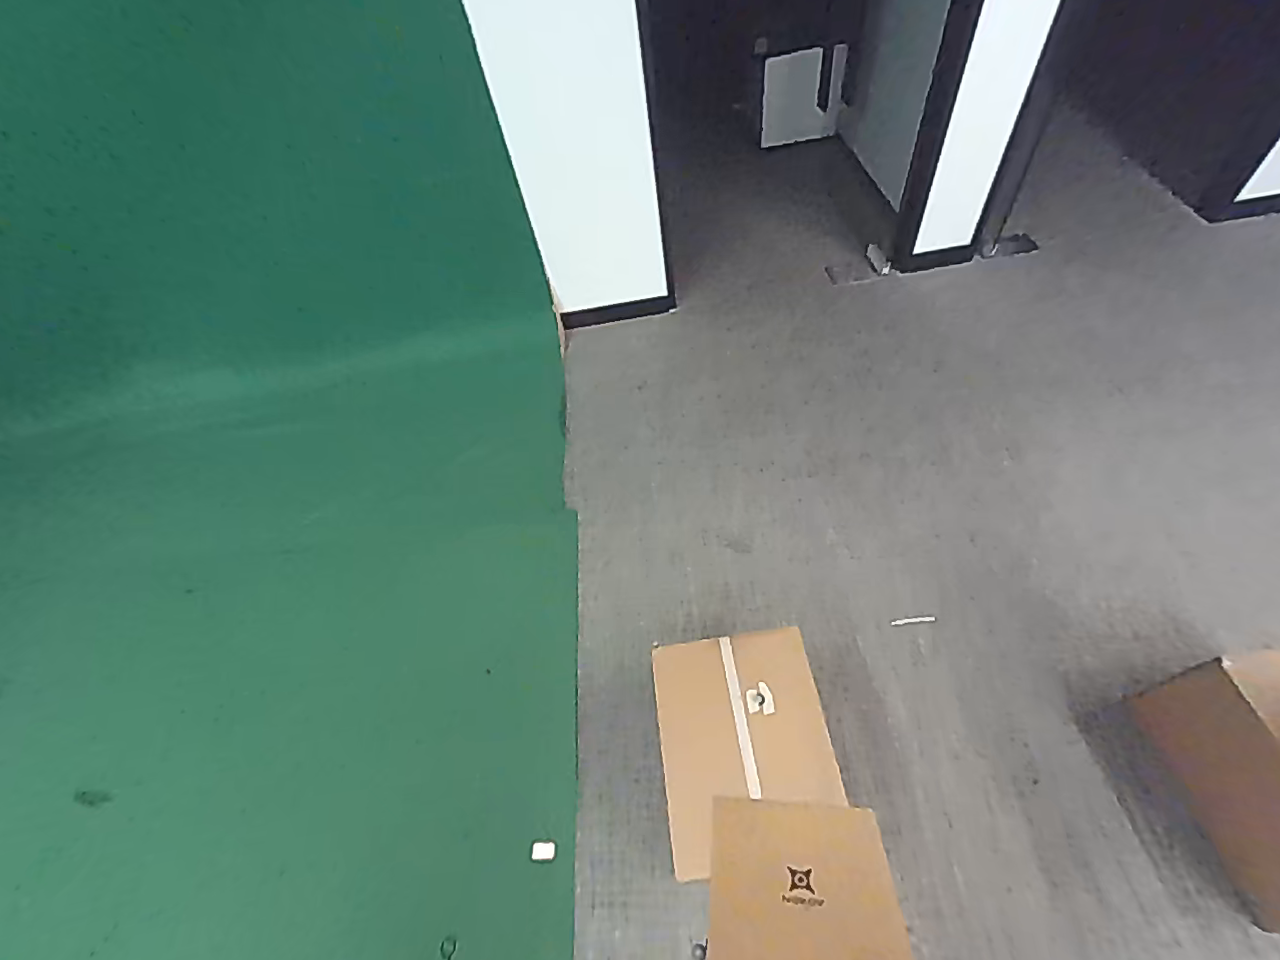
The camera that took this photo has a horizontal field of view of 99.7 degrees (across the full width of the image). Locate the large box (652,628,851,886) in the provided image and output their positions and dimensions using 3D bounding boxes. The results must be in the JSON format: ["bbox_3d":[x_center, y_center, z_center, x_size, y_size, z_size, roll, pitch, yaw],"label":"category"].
[{"bbox_3d":[0.220,0.576,1.123,0.320,0.320,0.408,-10,52,4],"label":"large box"}]

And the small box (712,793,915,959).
[{"bbox_3d":[0.157,0.448,0.524,0.168,0.176,0.179,-1,18,10],"label":"small box"}]
